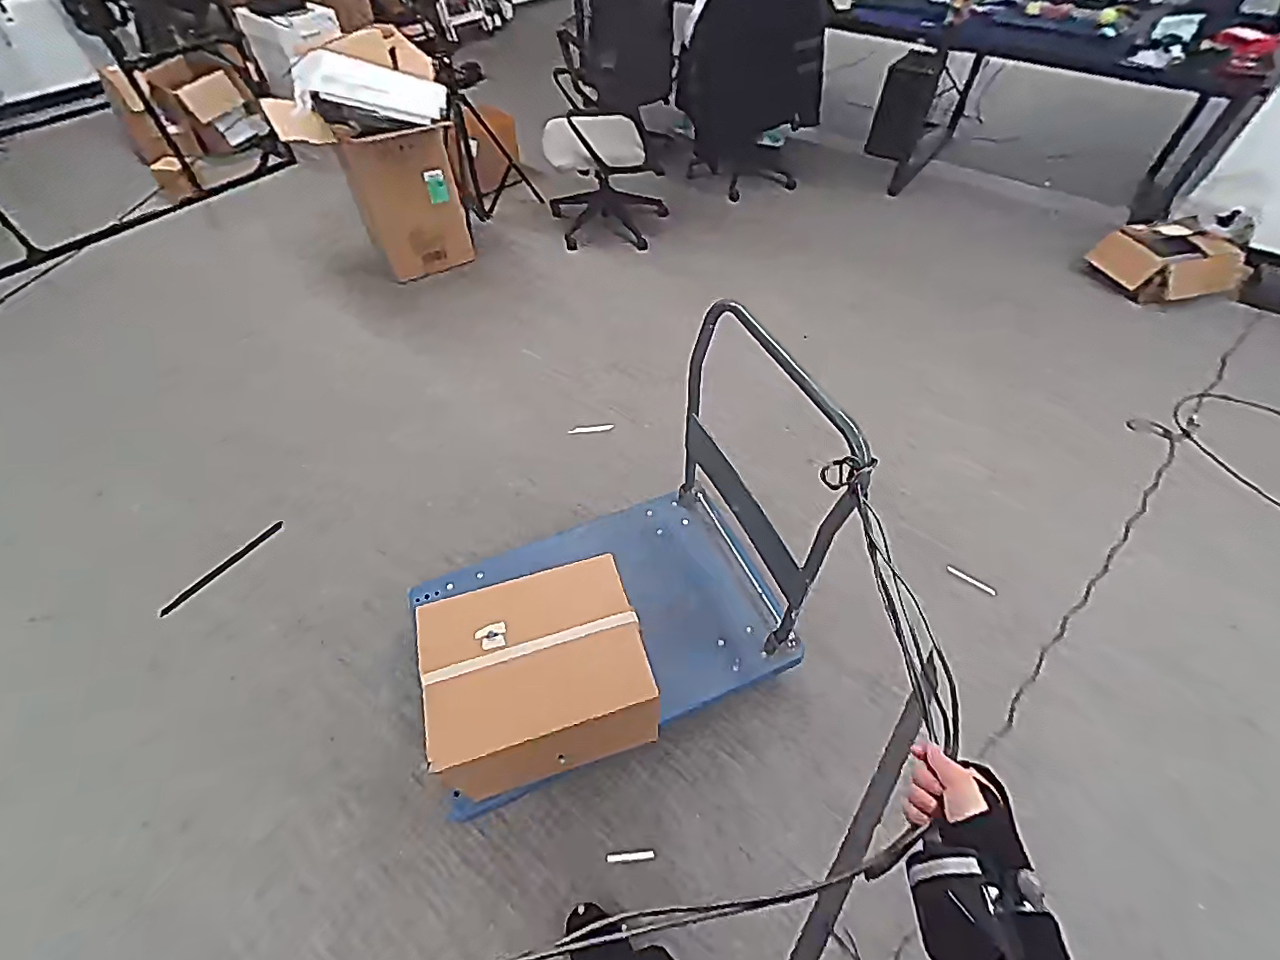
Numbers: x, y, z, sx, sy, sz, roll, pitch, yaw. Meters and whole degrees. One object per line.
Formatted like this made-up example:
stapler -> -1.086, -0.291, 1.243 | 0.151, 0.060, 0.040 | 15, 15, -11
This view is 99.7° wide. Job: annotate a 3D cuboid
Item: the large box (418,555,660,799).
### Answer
large box -> -0.196, 0.411, 1.124 | 0.408, 0.320, 0.320 | -15, 52, -10
